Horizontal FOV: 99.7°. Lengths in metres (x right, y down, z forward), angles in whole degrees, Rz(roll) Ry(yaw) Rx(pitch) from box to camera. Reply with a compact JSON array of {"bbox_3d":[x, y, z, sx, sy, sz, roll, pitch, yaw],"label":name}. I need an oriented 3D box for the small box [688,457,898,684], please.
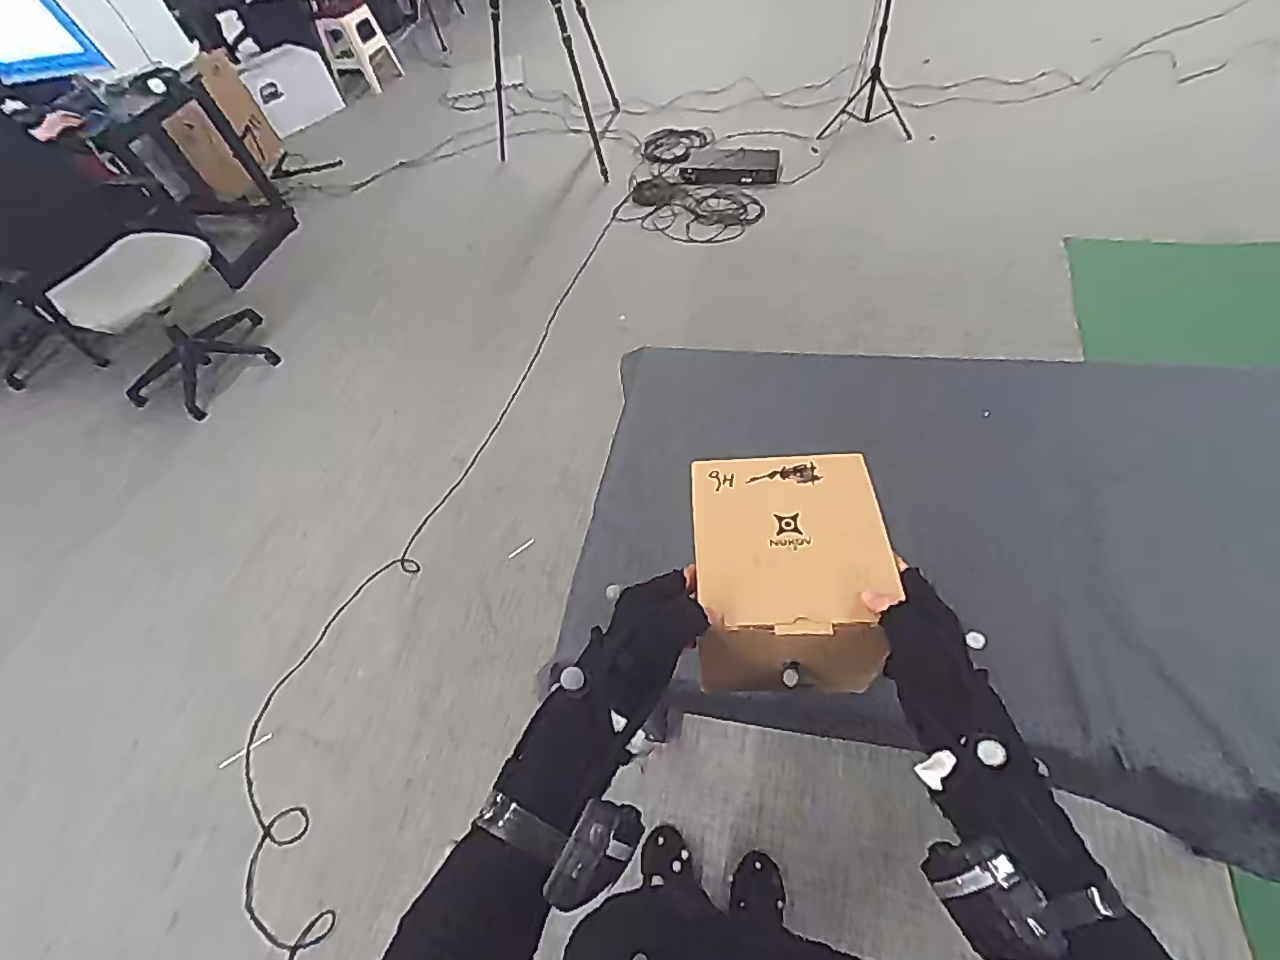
[{"bbox_3d":[0.137,0.099,0.546,0.168,0.176,0.179,-3,53,6],"label":"small box"}]
